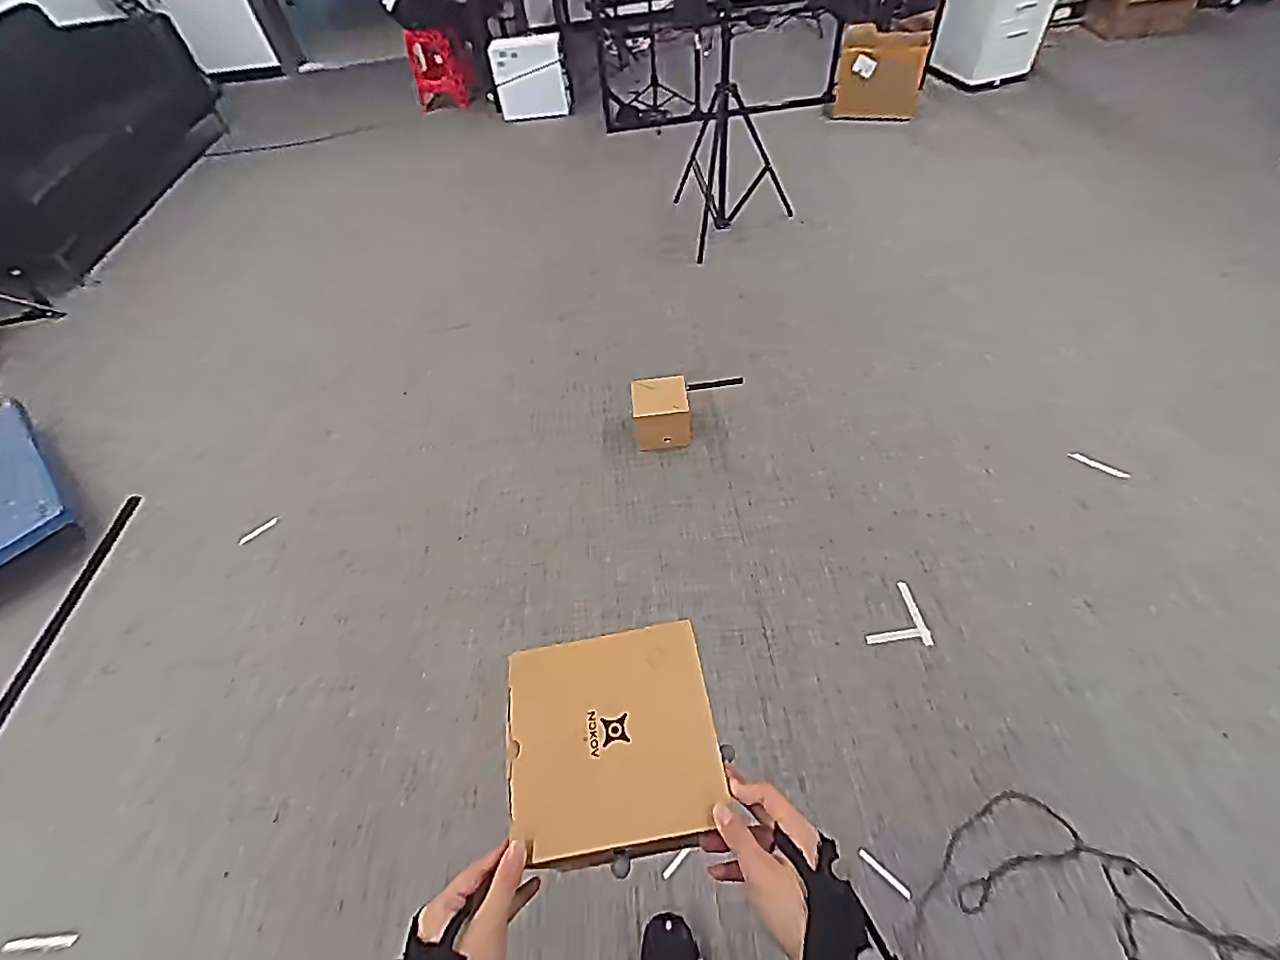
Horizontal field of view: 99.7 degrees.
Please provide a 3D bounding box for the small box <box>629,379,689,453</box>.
[{"bbox_3d":[0.063,-0.215,1.789,0.179,0.176,0.168,-6,52,1],"label":"small box"}]

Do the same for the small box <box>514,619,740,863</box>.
[{"bbox_3d":[-0.011,0.253,0.517,0.179,0.176,0.168,-11,53,1],"label":"small box"}]
